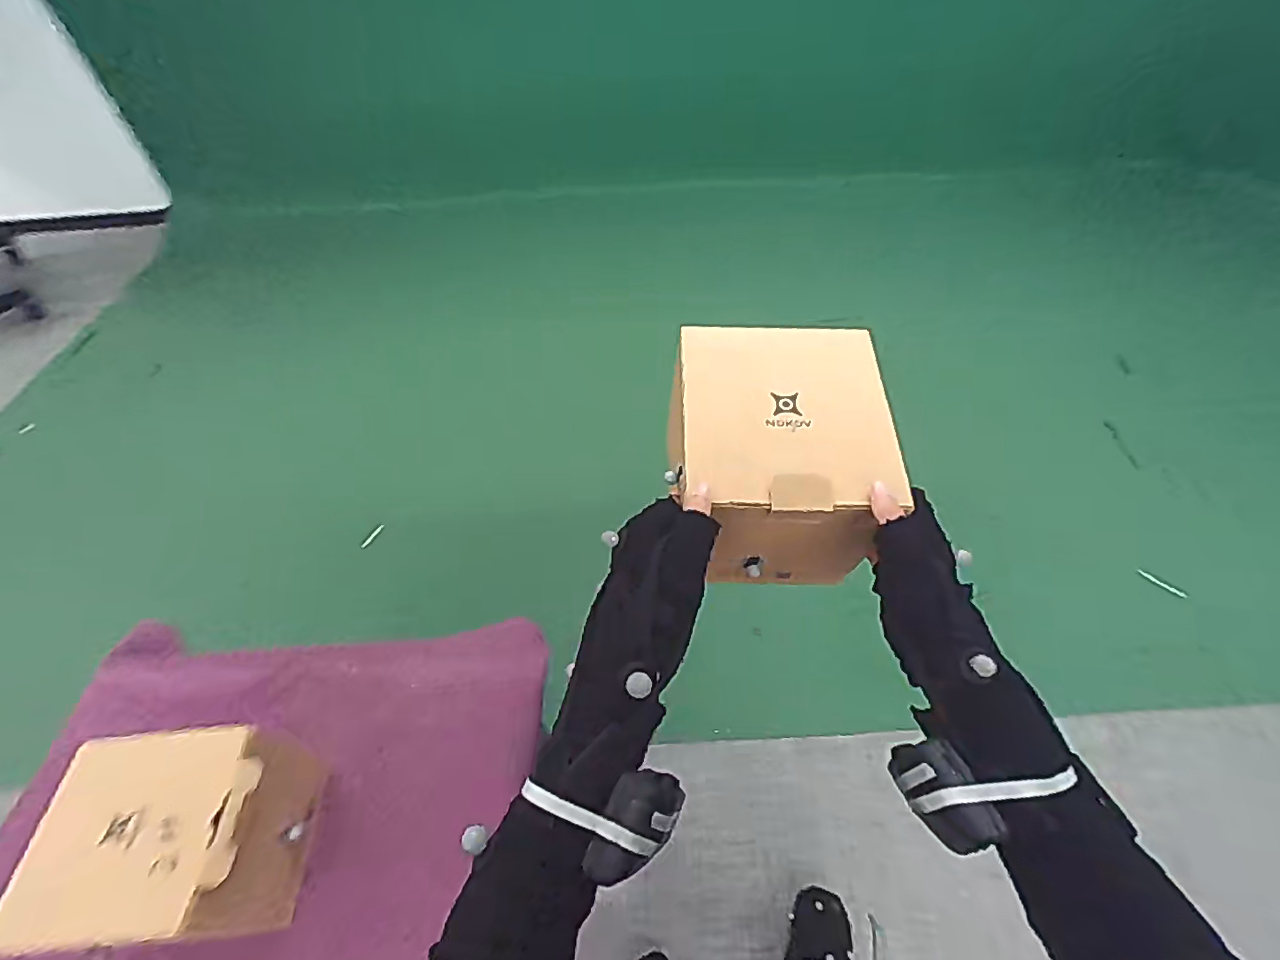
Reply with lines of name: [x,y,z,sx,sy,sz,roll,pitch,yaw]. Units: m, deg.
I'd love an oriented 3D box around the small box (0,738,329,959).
small box: [-0.466,0.380,0.557,0.179,0.176,0.168,-5,52,-1]

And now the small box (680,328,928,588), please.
small box: [0.126,-0.013,0.496,0.168,0.176,0.179,2,62,-1]
